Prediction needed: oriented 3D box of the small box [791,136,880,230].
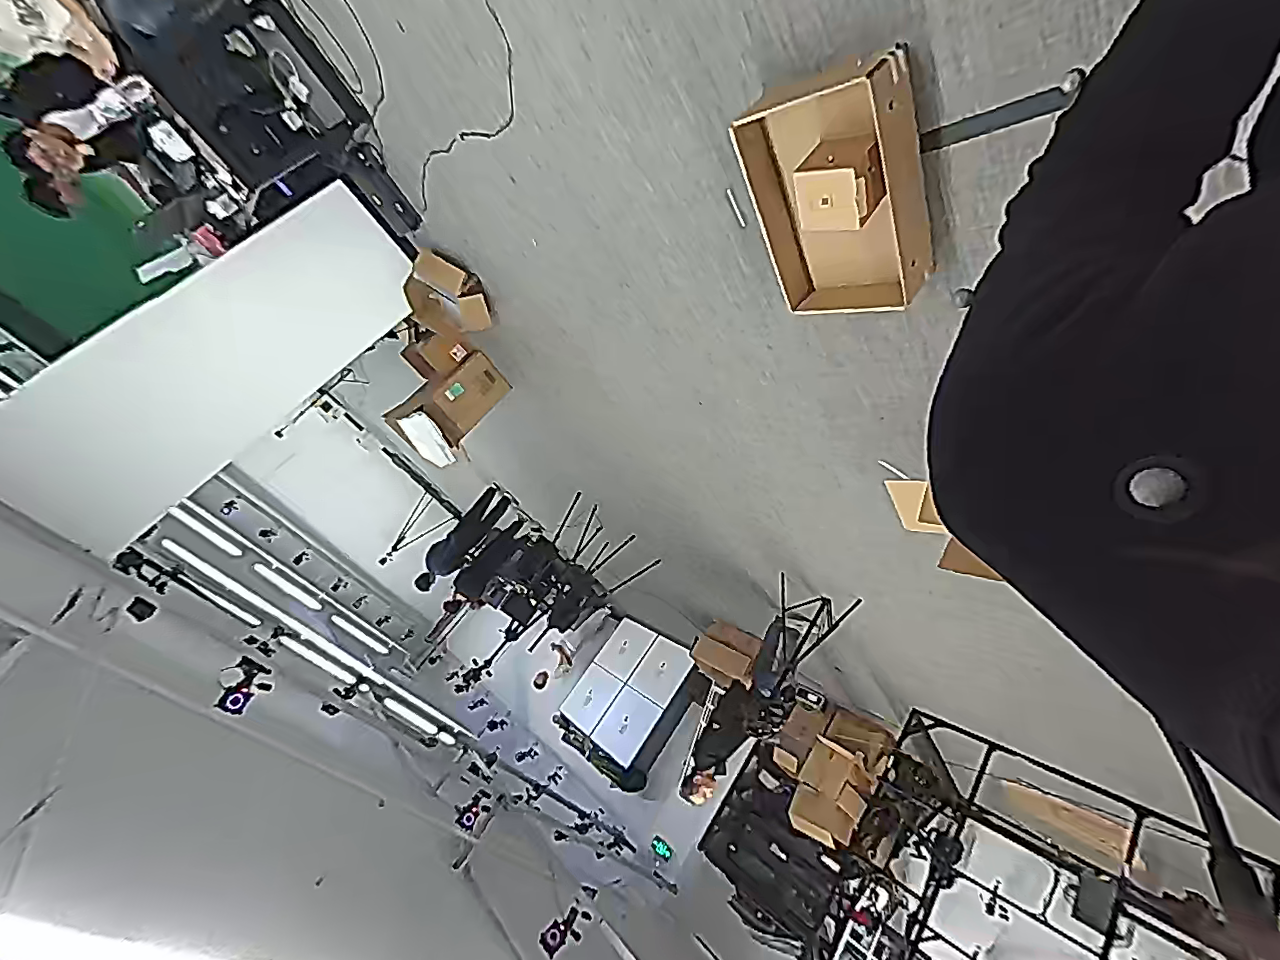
[{"bbox_3d":[0.536,-0.803,1.462,0.179,0.176,0.168,20,153,38],"label":"small box"}]
